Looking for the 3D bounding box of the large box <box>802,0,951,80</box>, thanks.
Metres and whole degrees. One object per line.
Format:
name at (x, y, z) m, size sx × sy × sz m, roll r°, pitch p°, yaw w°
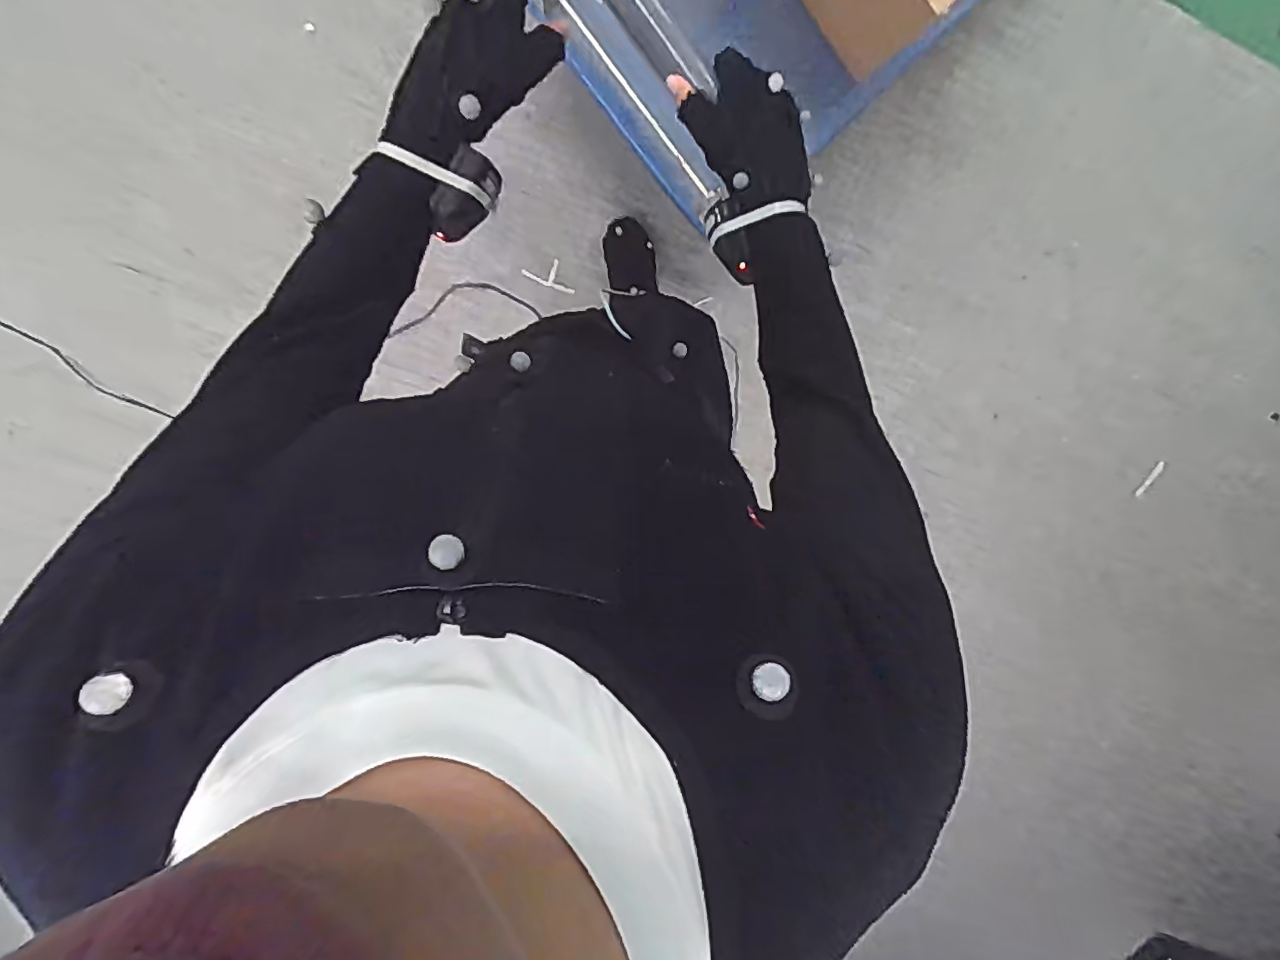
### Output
large box at (0.386, -0.929, 0.802) m, size 0.320 × 0.320 × 0.408 m, roll -41°, pitch 105°, yaw 14°
